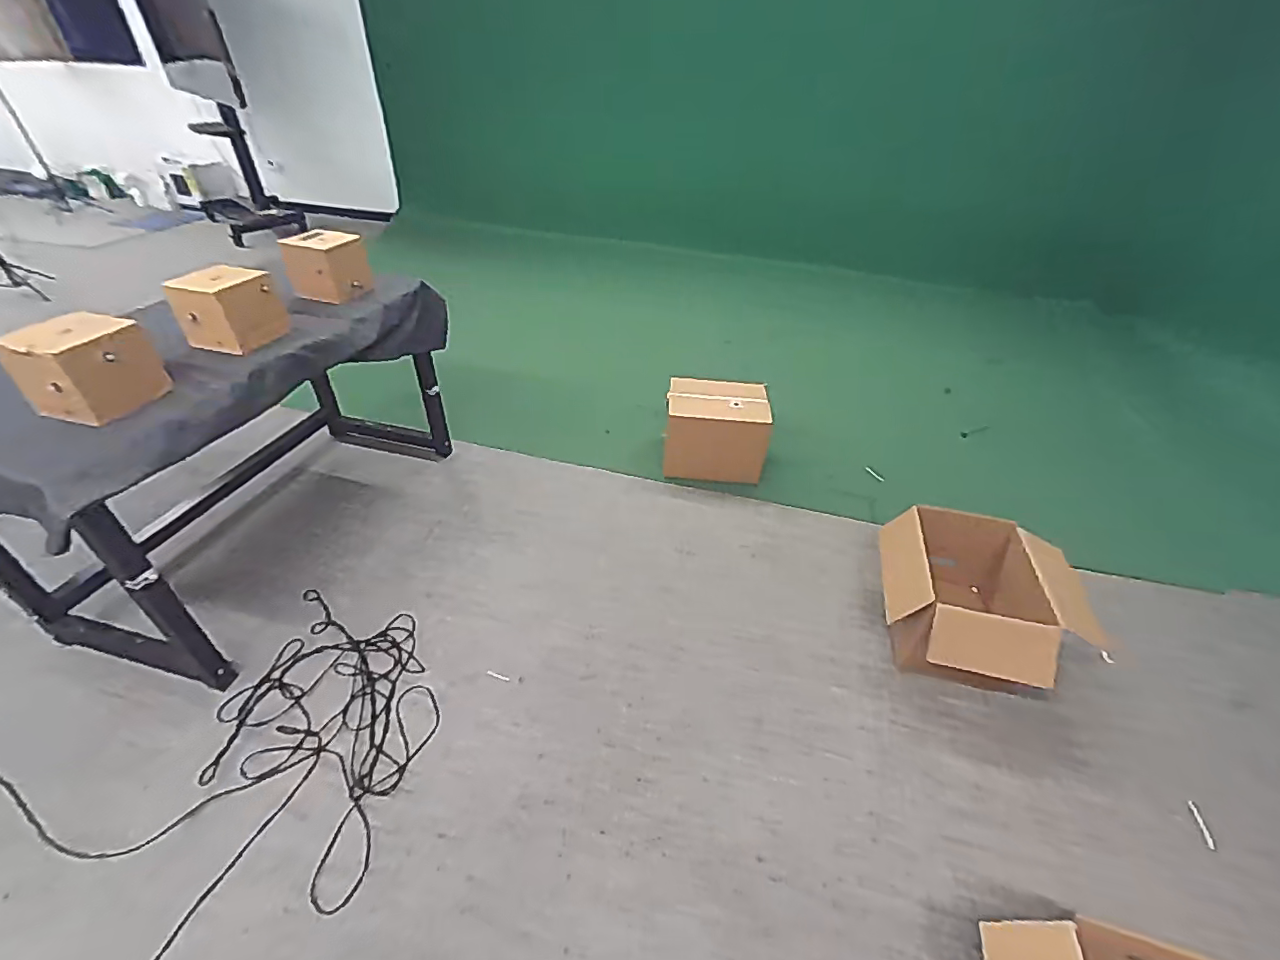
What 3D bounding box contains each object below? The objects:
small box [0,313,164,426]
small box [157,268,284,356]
[{"bbox_3d":[-1.177,-0.233,1.141,0.168,0.176,0.179,11,37,8],"label":"small box"},{"bbox_3d":[-1.086,-0.439,1.419,0.168,0.176,0.179,11,38,10],"label":"small box"}]
